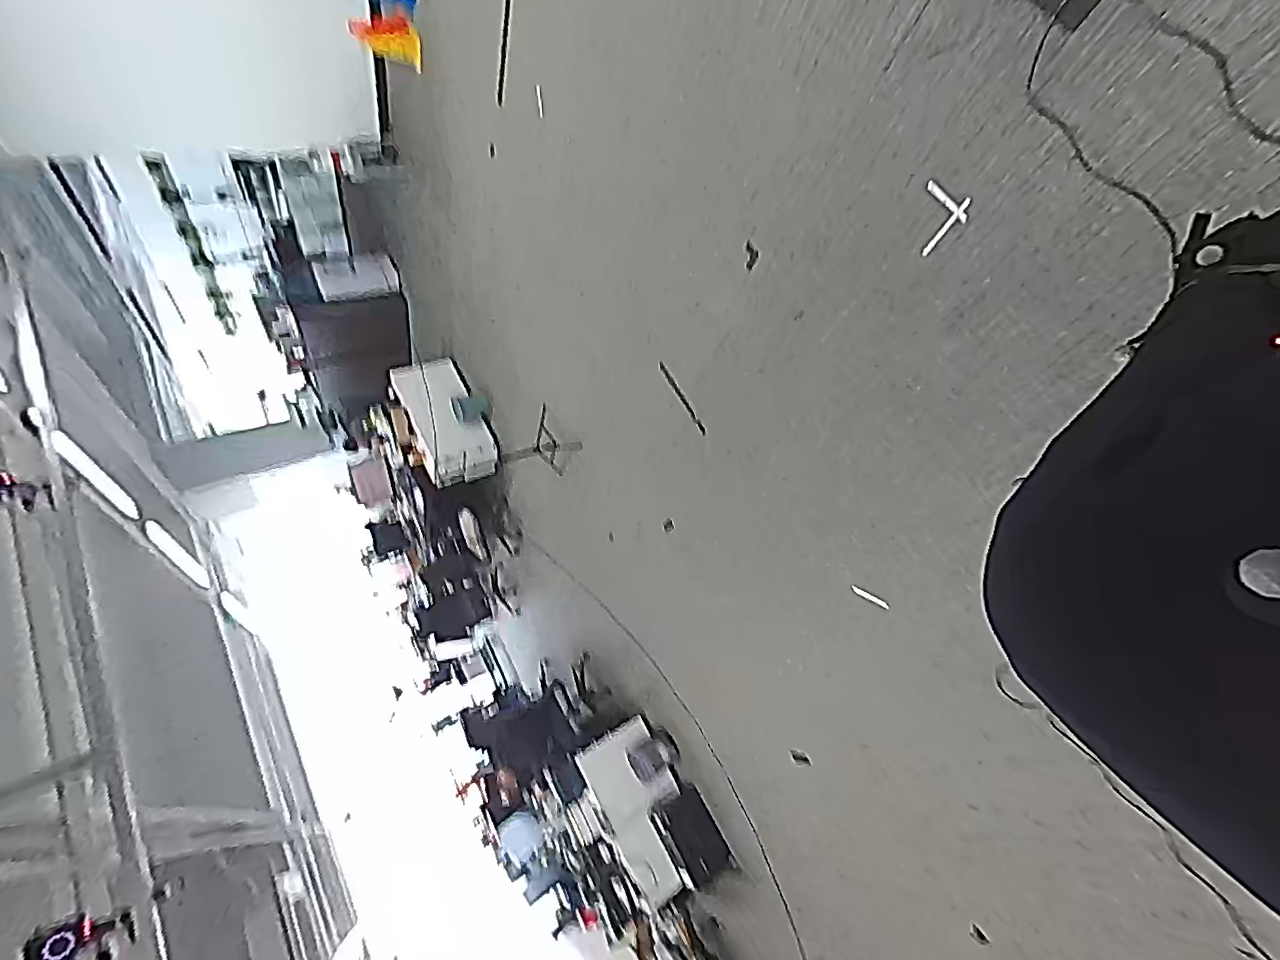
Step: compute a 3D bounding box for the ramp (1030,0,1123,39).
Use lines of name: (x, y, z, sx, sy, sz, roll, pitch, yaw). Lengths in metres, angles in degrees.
ramp: (0.645, -1.349, 0.957, 0.991, 0.206, 0.509, 59, 148, 18)
